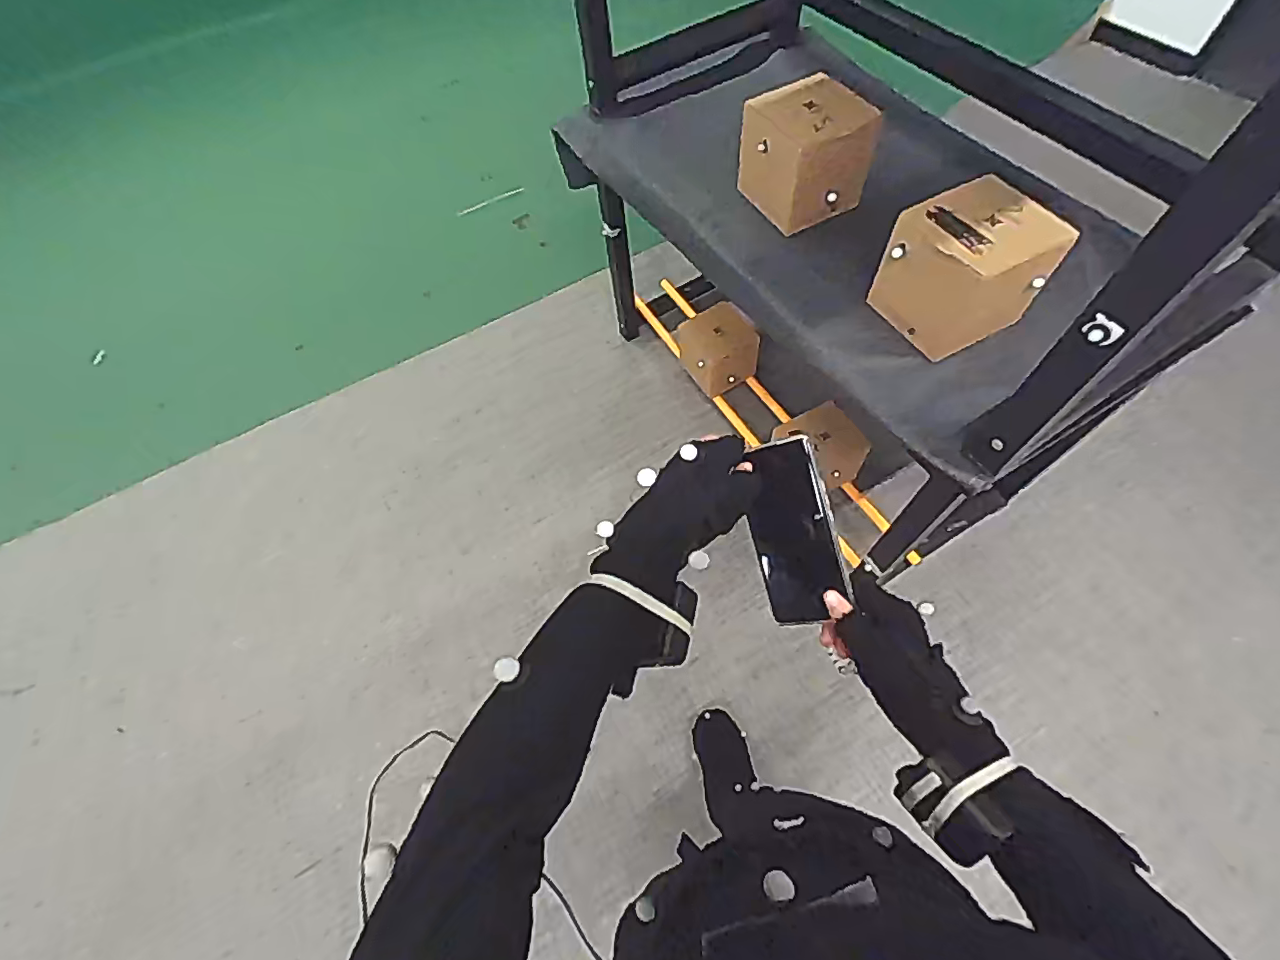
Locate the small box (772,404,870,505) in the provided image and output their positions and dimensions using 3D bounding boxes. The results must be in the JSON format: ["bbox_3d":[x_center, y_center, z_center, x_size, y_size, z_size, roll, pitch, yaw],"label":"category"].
[{"bbox_3d":[0.460,-0.060,1.411,0.179,0.176,0.168,-26,62,-9],"label":"small box"}]

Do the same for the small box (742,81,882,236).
[{"bbox_3d":[0.304,-0.593,1.005,0.168,0.176,0.179,-27,62,-9],"label":"small box"}]
